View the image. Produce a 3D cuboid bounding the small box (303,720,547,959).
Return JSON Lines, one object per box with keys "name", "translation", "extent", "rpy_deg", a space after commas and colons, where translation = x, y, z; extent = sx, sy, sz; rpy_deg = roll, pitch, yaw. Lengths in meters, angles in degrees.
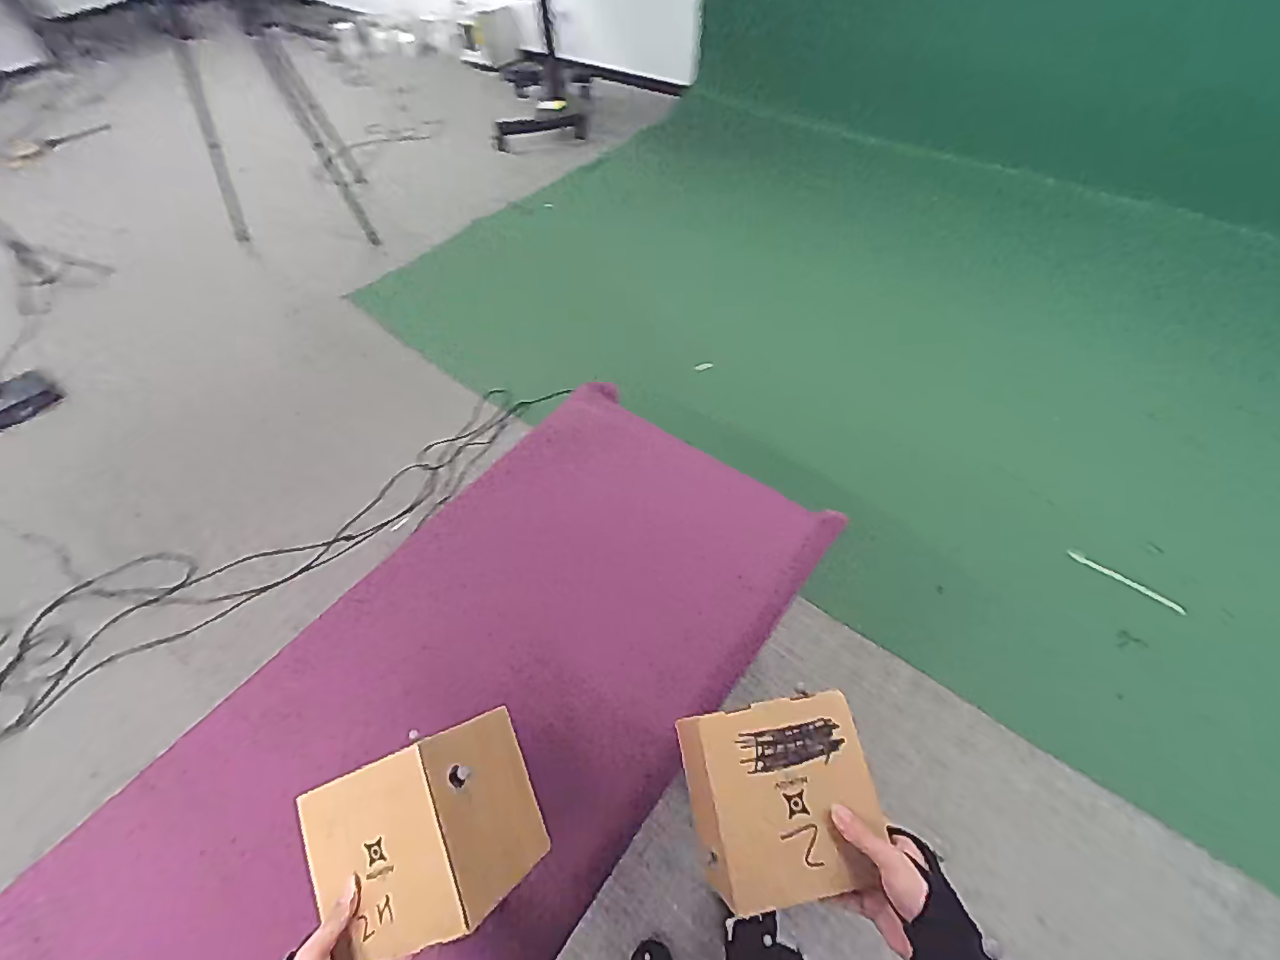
{"name": "small box", "translation": [-0.232, 0.389, 0.608], "extent": [0.168, 0.176, 0.179], "rpy_deg": [-27, 73, 12]}
